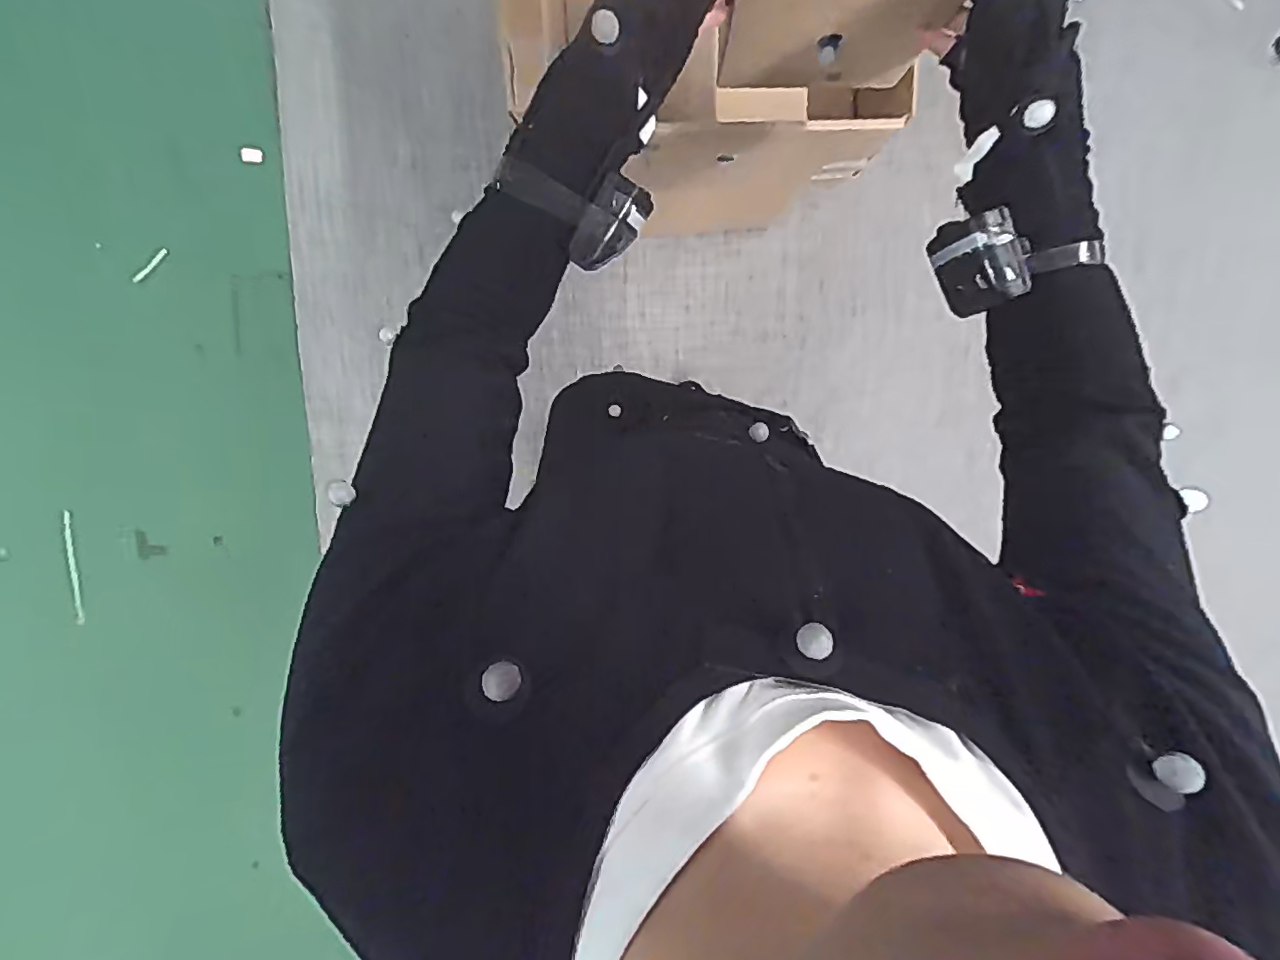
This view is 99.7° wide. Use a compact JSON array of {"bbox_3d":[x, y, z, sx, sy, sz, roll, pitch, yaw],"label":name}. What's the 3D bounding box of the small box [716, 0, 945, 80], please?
[{"bbox_3d":[0.147,-0.430,0.404,0.168,0.176,0.179,0,104,3],"label":"small box"}]
